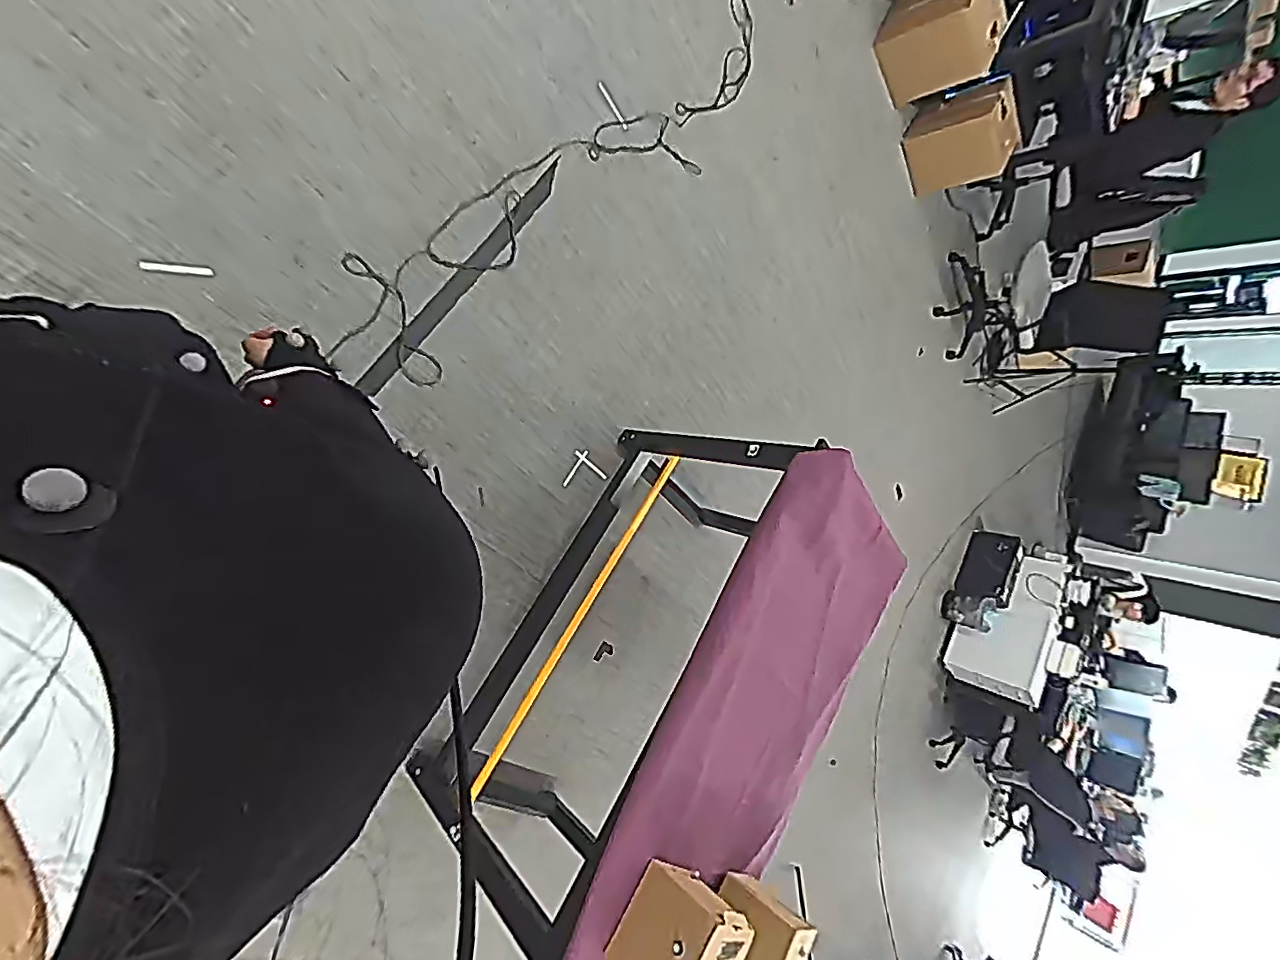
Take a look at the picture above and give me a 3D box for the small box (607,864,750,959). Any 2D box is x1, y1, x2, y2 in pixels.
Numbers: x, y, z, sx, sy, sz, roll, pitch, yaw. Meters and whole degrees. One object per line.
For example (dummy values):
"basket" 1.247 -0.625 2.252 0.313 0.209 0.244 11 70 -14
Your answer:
"small box" 0.071 0.864 1.010 0.168 0.176 0.179 49 66 -37
